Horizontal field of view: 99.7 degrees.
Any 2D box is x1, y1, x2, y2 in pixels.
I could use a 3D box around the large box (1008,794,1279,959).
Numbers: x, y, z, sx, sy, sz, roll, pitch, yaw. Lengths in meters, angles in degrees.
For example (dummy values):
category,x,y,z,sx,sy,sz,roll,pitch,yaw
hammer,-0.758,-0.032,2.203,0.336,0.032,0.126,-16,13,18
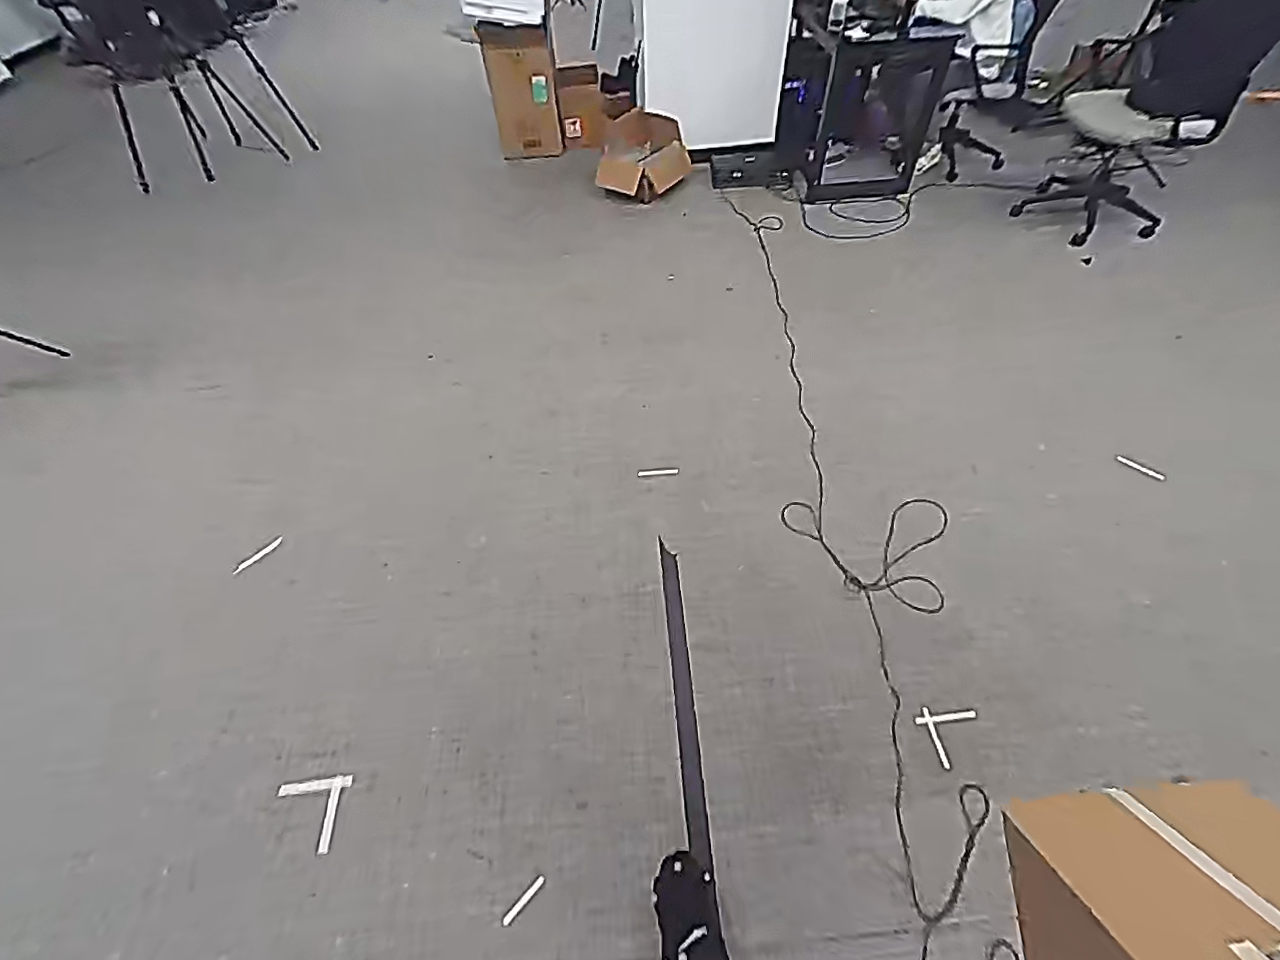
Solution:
category,x,y,z,sx,sy,sz,roll,pitch,yaw
large box,0.679,0.612,0.573,0.320,0.408,0.320,-9,92,5
